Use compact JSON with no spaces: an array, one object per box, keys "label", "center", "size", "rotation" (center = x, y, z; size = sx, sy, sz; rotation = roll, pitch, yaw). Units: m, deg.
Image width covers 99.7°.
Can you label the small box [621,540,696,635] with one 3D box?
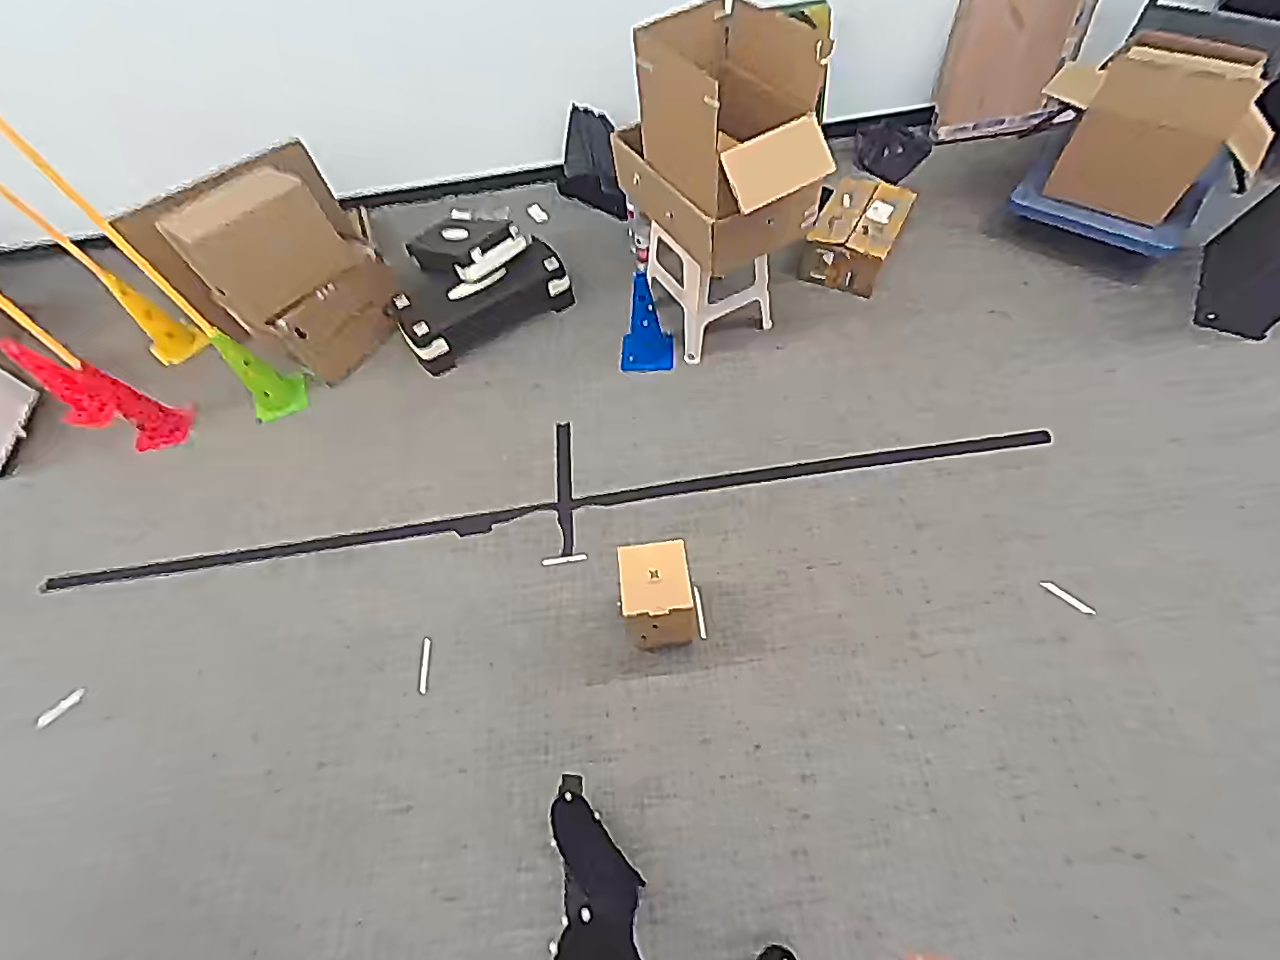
[{"label":"small box","center":[0.045,0.272,1.352],"size":[0.168,0.176,0.179],"rotation":[-7,58,0]}]
